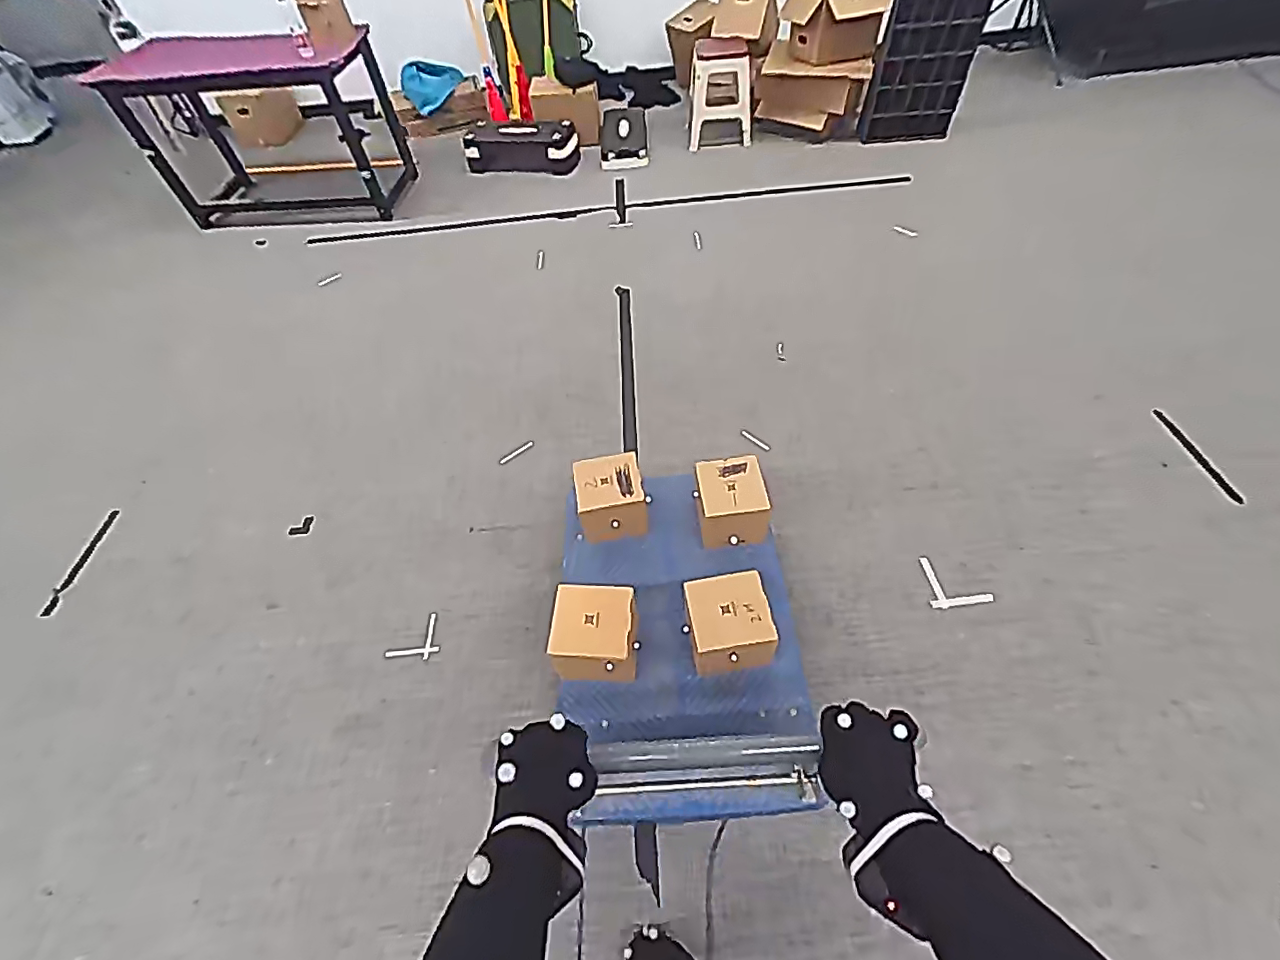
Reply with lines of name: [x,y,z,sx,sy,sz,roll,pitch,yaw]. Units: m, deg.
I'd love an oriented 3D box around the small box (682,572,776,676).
small box: [0.198,0.334,1.241,0.179,0.176,0.168,-9,53,-1]

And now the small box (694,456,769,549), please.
small box: [0.235,0.063,1.441,0.168,0.176,0.179,-8,54,1]

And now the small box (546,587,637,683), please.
small box: [-0.105,0.361,1.250,0.179,0.176,0.168,1,52,4]
